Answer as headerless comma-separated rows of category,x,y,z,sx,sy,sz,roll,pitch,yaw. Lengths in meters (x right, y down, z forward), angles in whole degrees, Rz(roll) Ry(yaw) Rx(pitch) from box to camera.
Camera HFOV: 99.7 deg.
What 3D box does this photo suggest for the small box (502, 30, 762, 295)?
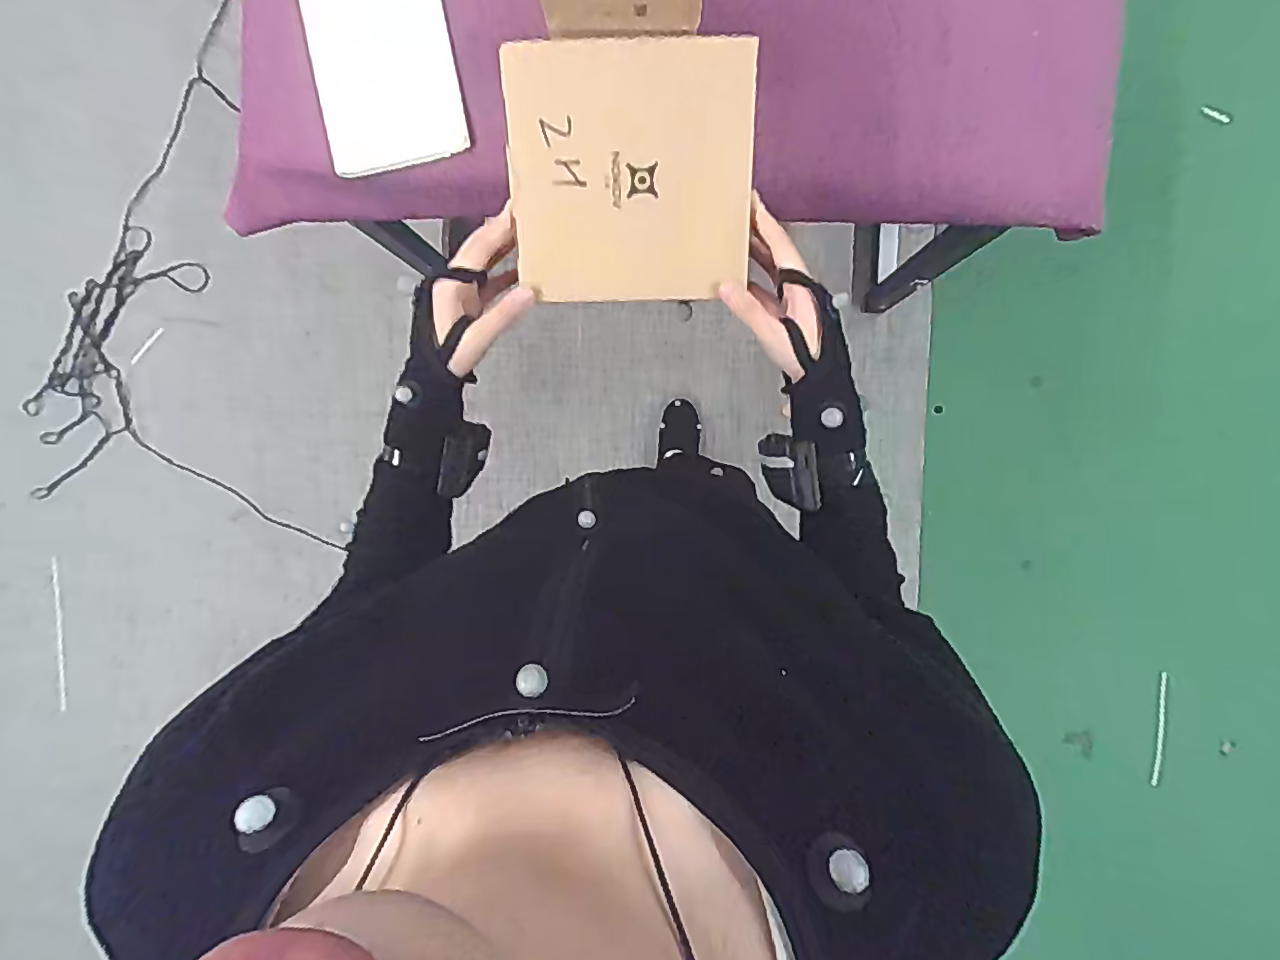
small box,-0.006,-0.246,0.458,0.179,0.176,0.168,0,109,0
